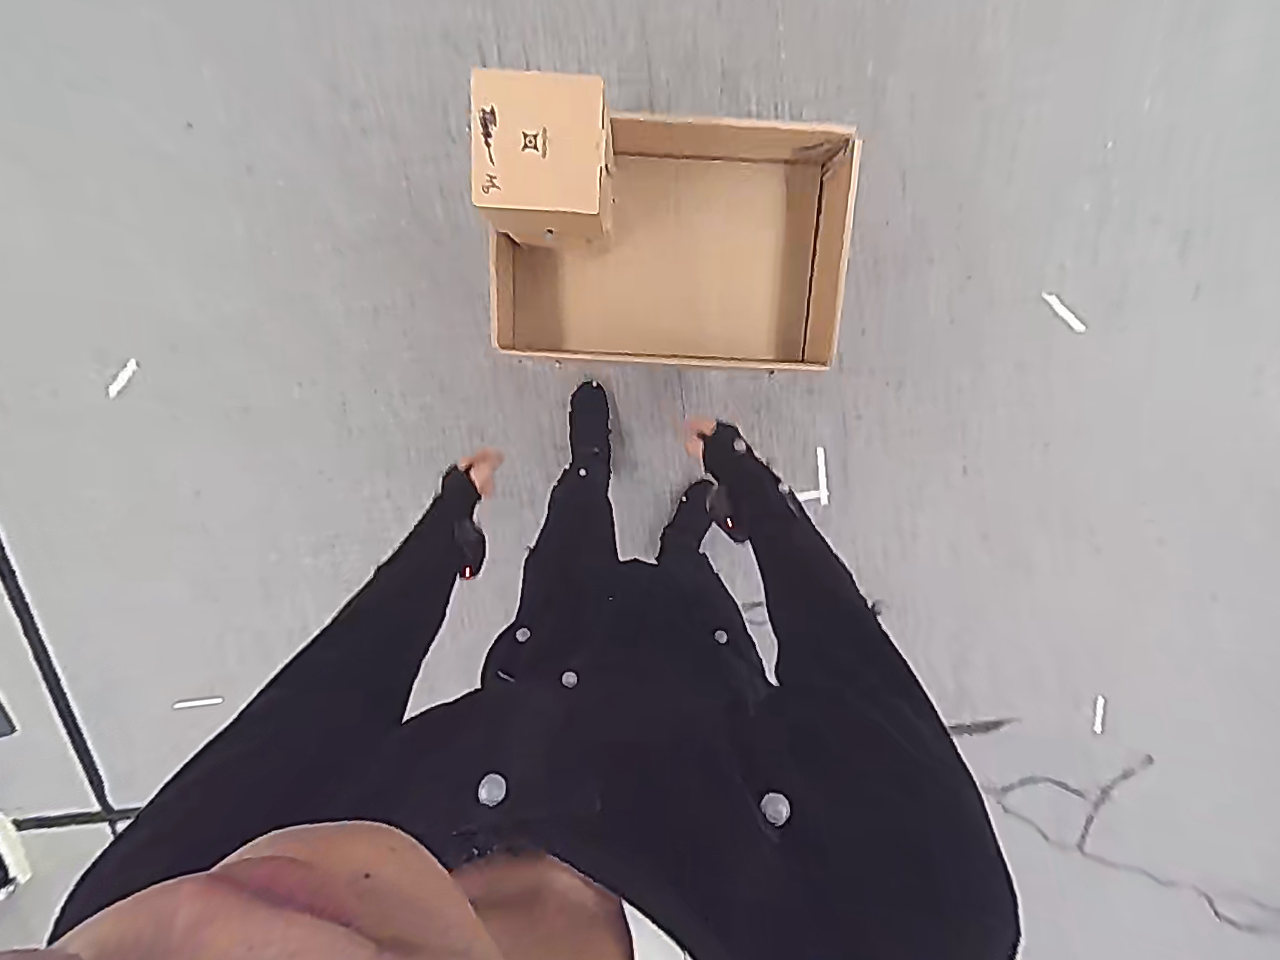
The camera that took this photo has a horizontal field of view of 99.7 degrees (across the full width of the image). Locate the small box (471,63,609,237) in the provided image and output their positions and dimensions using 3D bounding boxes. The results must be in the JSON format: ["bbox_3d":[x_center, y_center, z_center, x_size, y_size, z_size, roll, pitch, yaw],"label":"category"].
[{"bbox_3d":[-0.136,-0.460,0.782,0.179,0.176,0.168,3,102,-2],"label":"small box"}]
